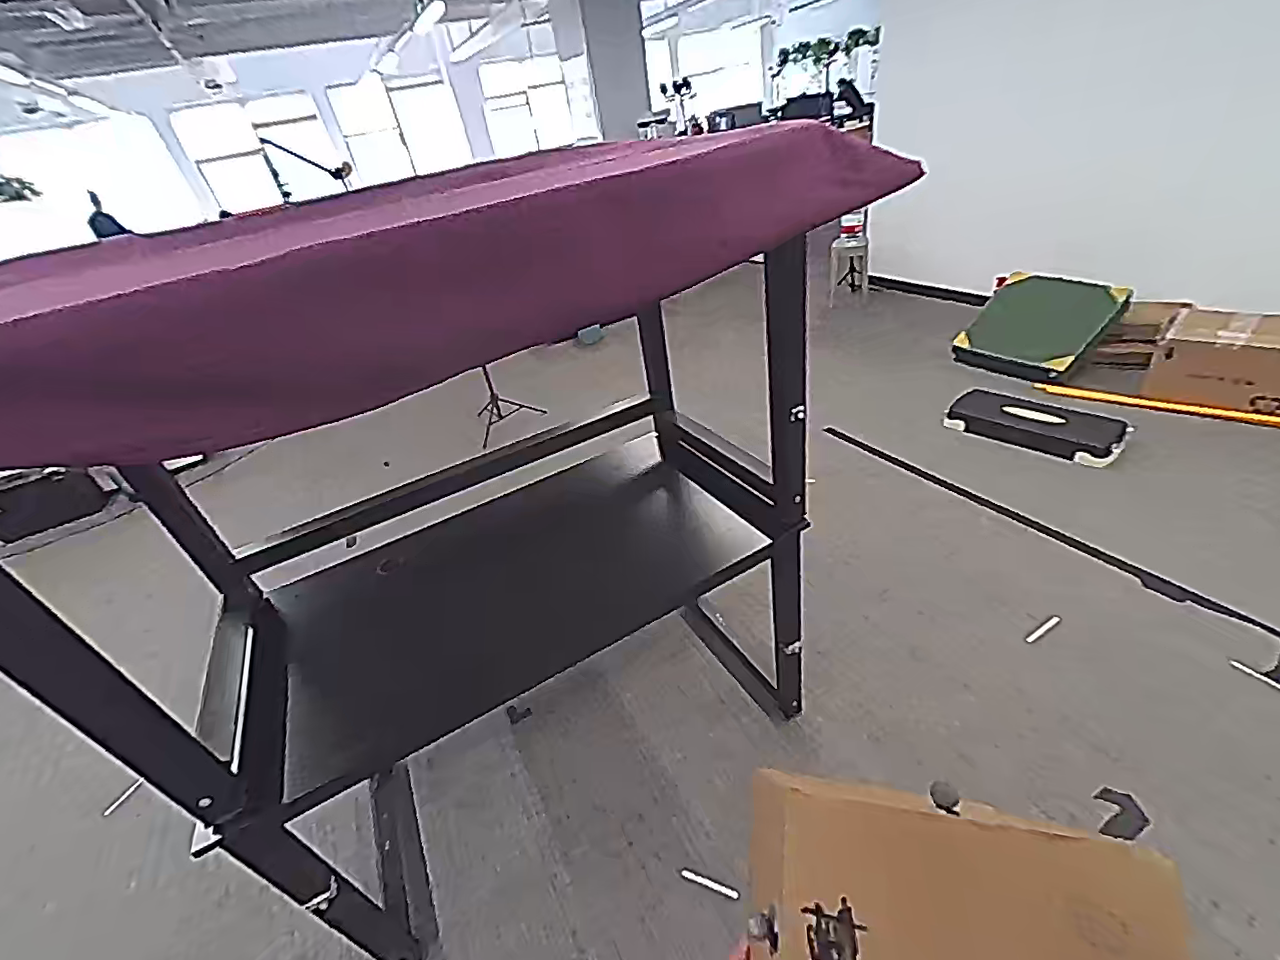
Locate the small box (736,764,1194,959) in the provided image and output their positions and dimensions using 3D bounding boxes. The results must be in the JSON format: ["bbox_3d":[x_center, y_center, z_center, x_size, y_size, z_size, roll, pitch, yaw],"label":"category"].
[{"bbox_3d":[0.153,0.263,0.301,0.179,0.176,0.168,6,66,7],"label":"small box"}]
